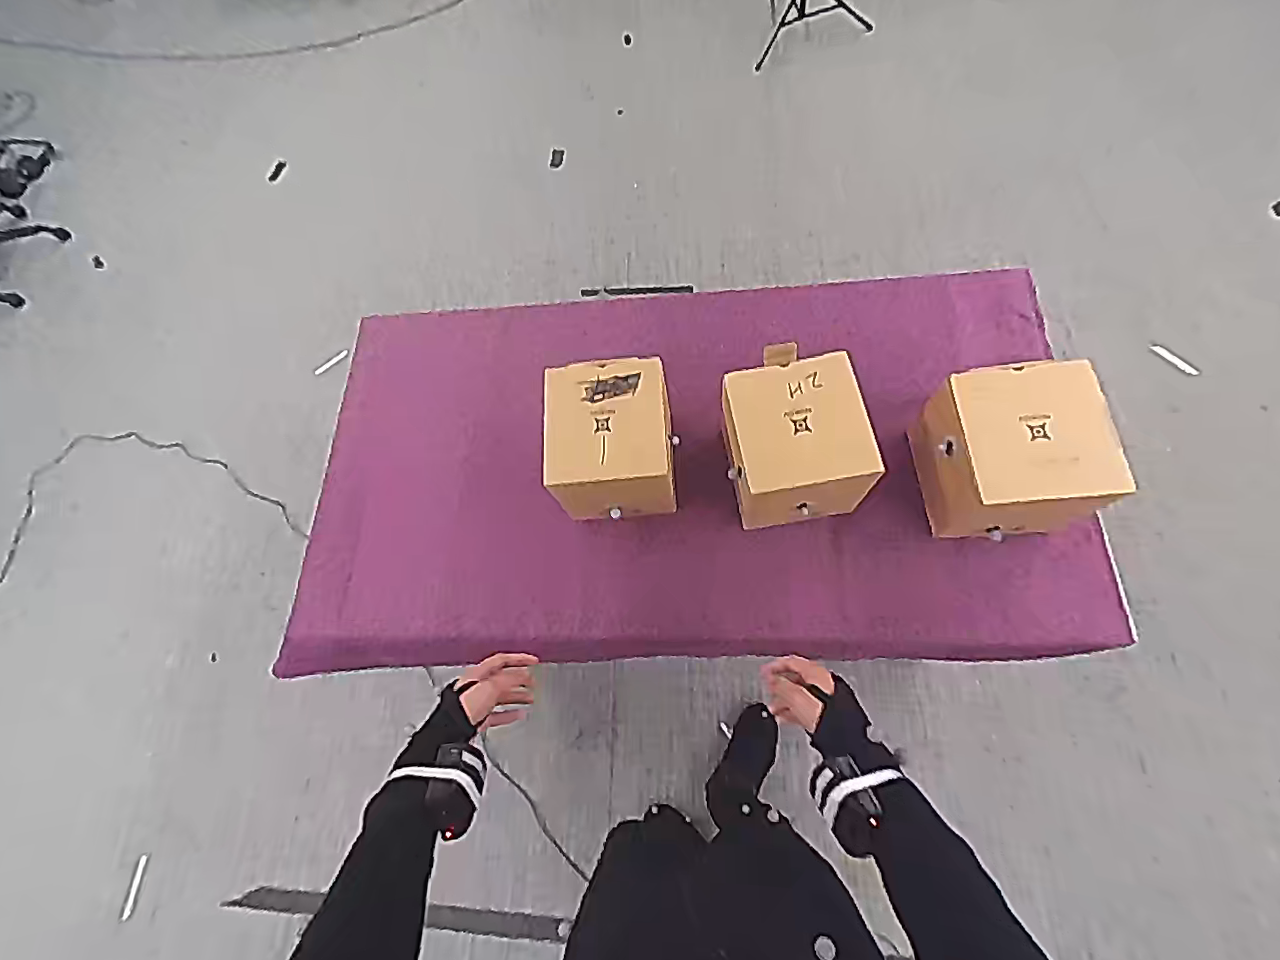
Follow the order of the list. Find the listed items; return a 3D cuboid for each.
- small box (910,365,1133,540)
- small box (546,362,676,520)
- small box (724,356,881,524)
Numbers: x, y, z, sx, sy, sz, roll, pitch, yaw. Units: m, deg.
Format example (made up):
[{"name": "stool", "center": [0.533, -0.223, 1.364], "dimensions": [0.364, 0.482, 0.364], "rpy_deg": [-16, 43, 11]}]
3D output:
[{"name": "small box", "center": [0.484, -0.028, 0.722], "dimensions": [0.168, 0.176, 0.179], "rpy_deg": [-5, 68, 7]}, {"name": "small box", "center": [-0.036, -0.051, 0.804], "dimensions": [0.168, 0.176, 0.179], "rpy_deg": [-5, 69, 6]}, {"name": "small box", "center": [0.216, -0.045, 0.766], "dimensions": [0.168, 0.176, 0.179], "rpy_deg": [-10, 68, 4]}]
